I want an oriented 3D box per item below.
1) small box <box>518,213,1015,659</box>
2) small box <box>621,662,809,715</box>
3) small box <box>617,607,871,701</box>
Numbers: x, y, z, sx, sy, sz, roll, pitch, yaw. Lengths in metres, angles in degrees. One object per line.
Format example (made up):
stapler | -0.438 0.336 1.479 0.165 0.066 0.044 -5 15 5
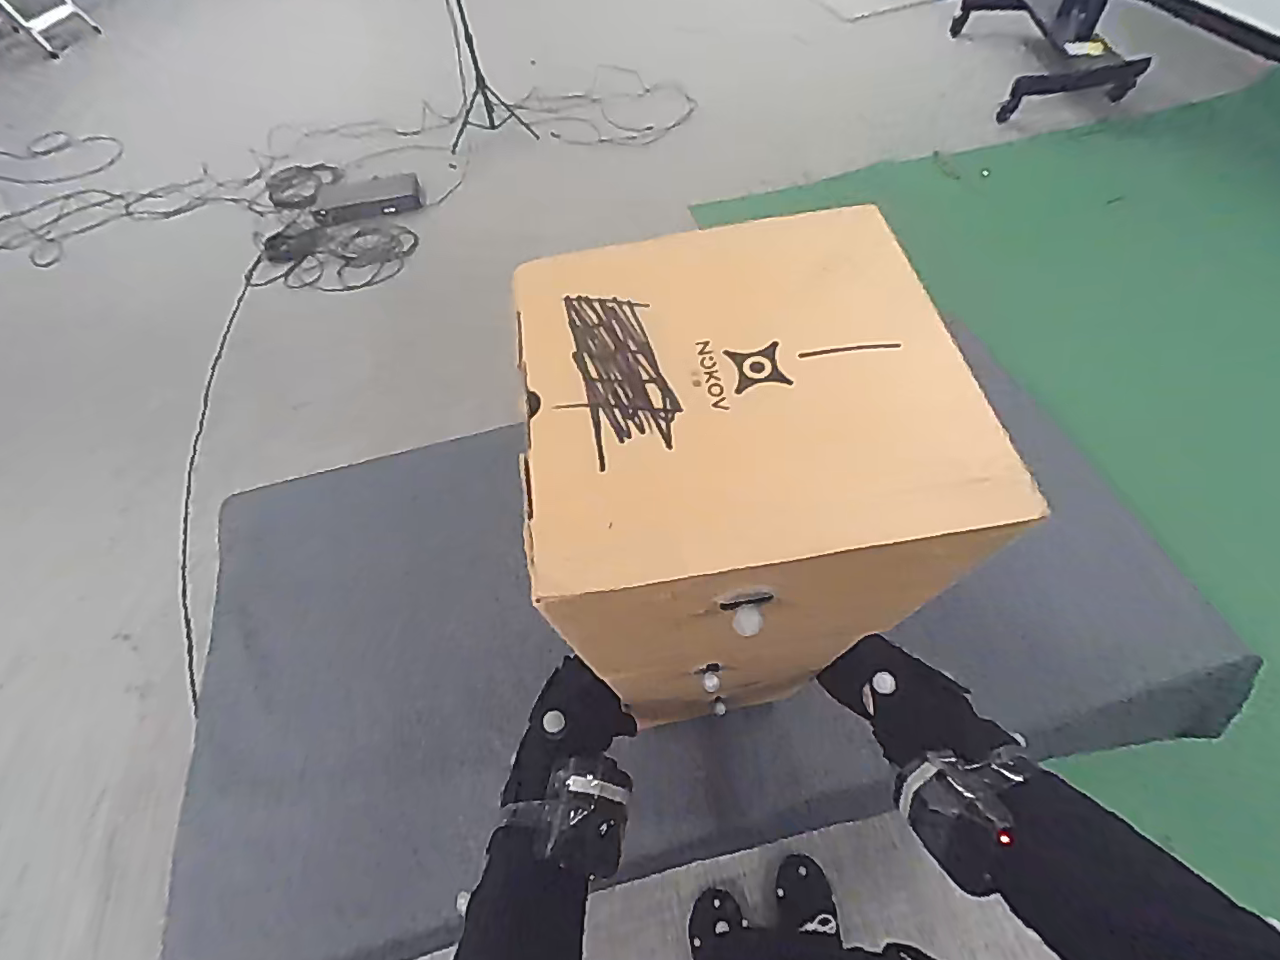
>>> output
small box | 0.042 -0.009 0.295 0.179 0.176 0.168 -9 62 0
small box | 0.064 0.146 0.585 0.179 0.176 0.168 -11 61 -3
small box | 0.053 0.066 0.444 0.168 0.176 0.179 -12 62 -3
